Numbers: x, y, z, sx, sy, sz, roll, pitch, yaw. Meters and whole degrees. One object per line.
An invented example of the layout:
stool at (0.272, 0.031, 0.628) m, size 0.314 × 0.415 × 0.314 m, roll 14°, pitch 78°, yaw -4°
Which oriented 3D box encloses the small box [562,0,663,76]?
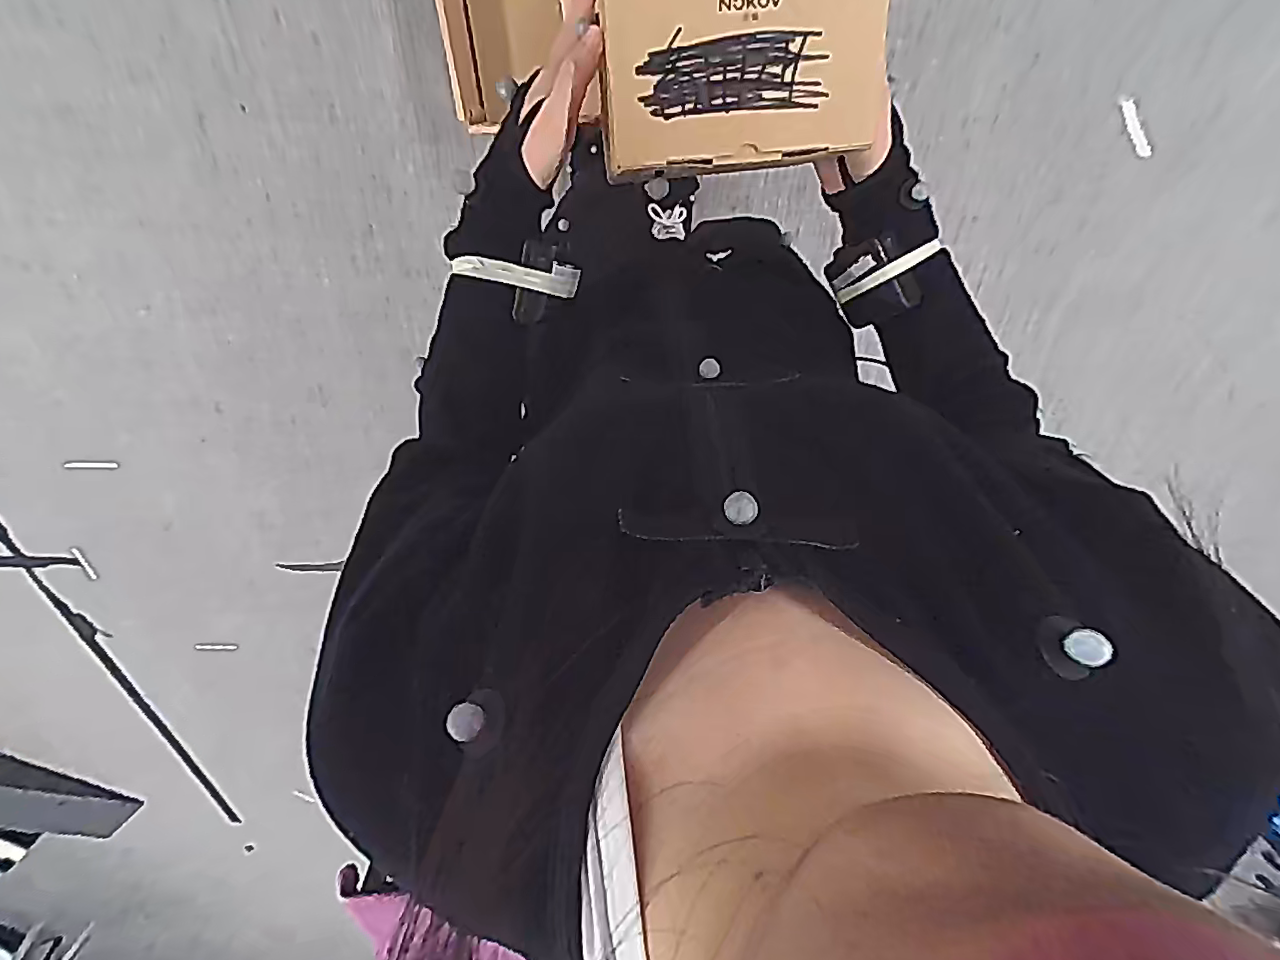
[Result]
small box at (-0.052, -0.851, 0.969) m, size 0.168 × 0.176 × 0.179 m, roll -7°, pitch 123°, yaw 4°

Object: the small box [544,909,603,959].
small box at (-0.197, 1.418, 1.617) m, size 0.168 × 0.176 × 0.179 m, roll 2°, pitch 124°, yaw -3°
